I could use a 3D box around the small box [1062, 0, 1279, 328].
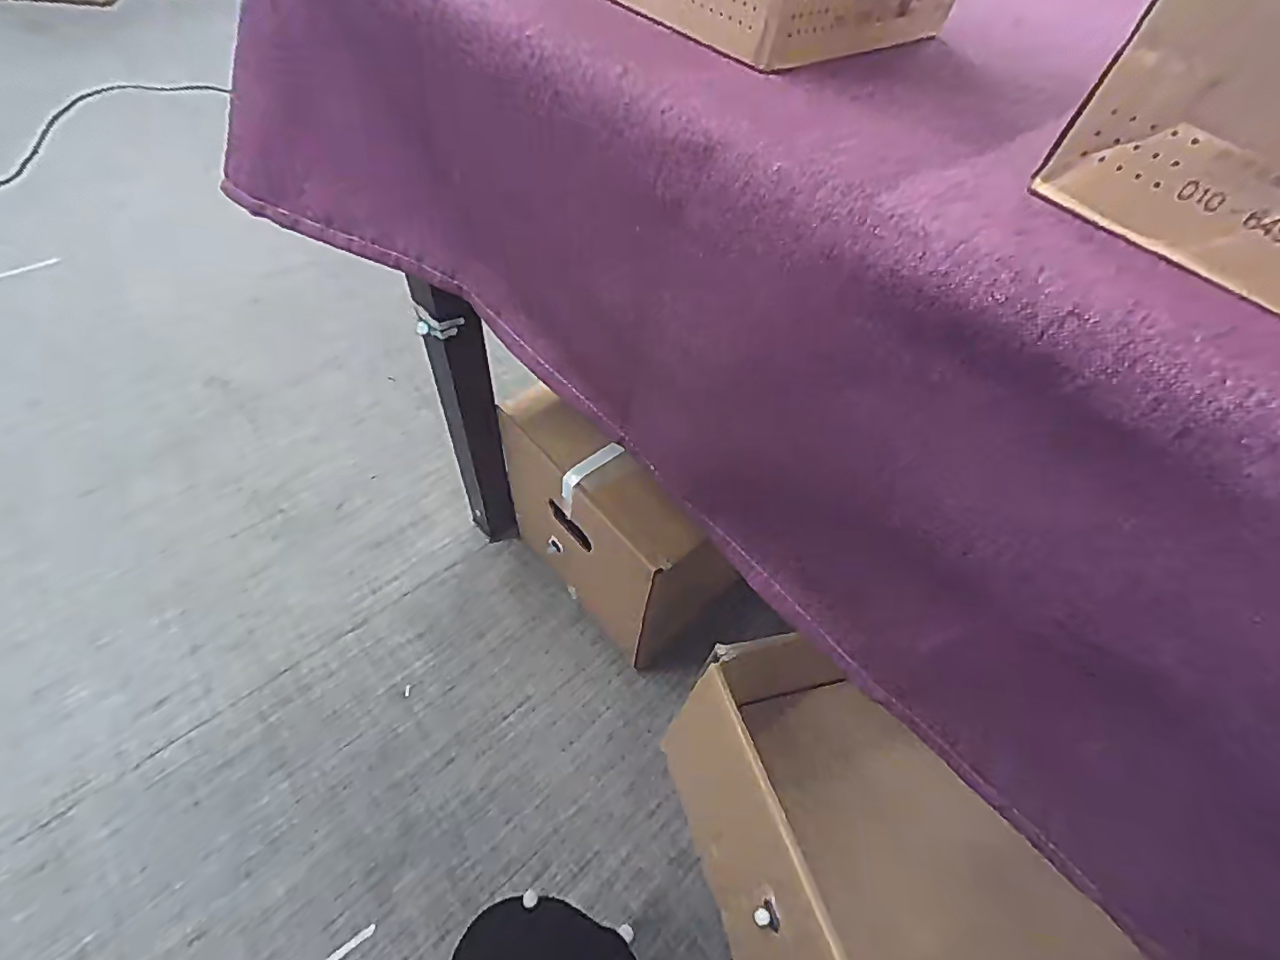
[{"bbox_3d":[0.270,-0.135,0.140,0.179,0.176,0.168,-29,62,-24],"label":"small box"}]
